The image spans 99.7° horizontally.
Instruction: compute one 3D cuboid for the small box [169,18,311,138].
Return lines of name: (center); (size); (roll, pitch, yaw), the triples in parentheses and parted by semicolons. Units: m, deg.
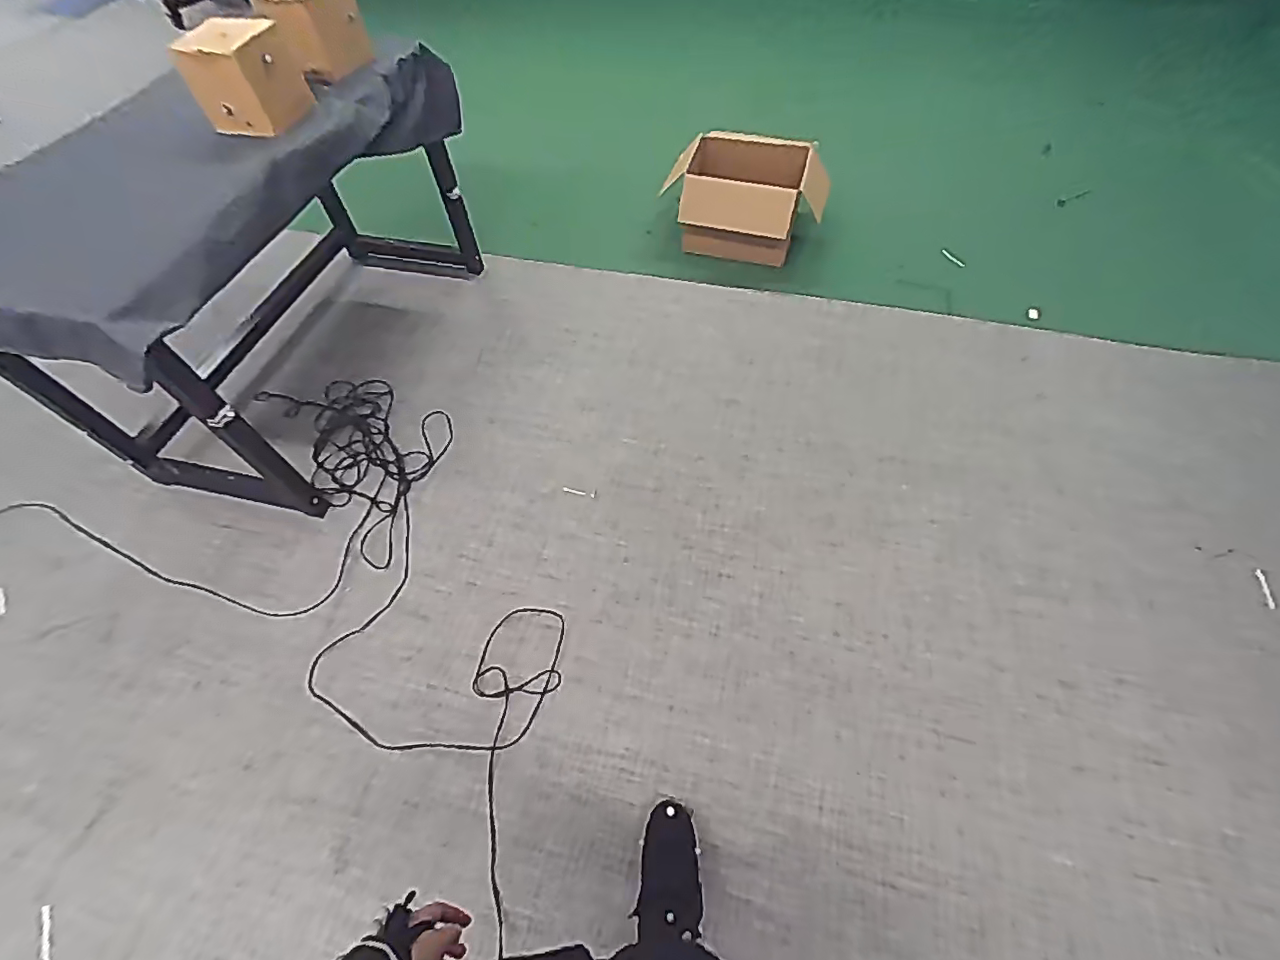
small box: (-0.902, -0.925, 1.246); (0.168, 0.176, 0.179); (9, 59, 8)
